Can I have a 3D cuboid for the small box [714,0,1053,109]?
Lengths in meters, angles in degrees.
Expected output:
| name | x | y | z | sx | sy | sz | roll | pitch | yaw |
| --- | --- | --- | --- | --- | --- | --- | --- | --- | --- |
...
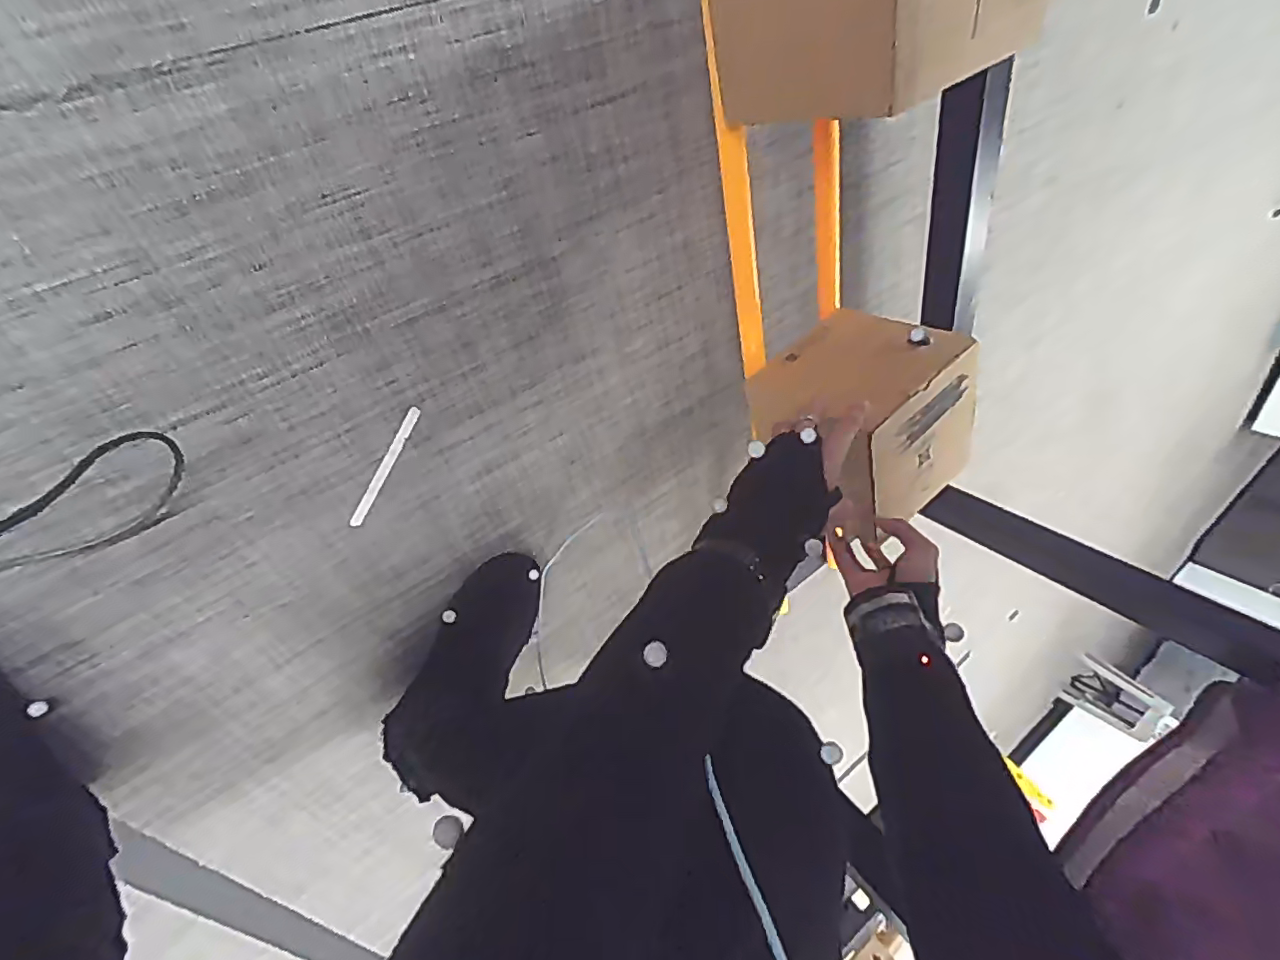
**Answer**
| name | x | y | z | sx | sy | sz | roll | pitch | yaw |
| --- | --- | --- | --- | --- | --- | --- | --- | --- | --- |
| small box | 0.159 | -0.376 | 0.363 | 0.168 | 0.176 | 0.179 | -34 | 133 | -17 |
